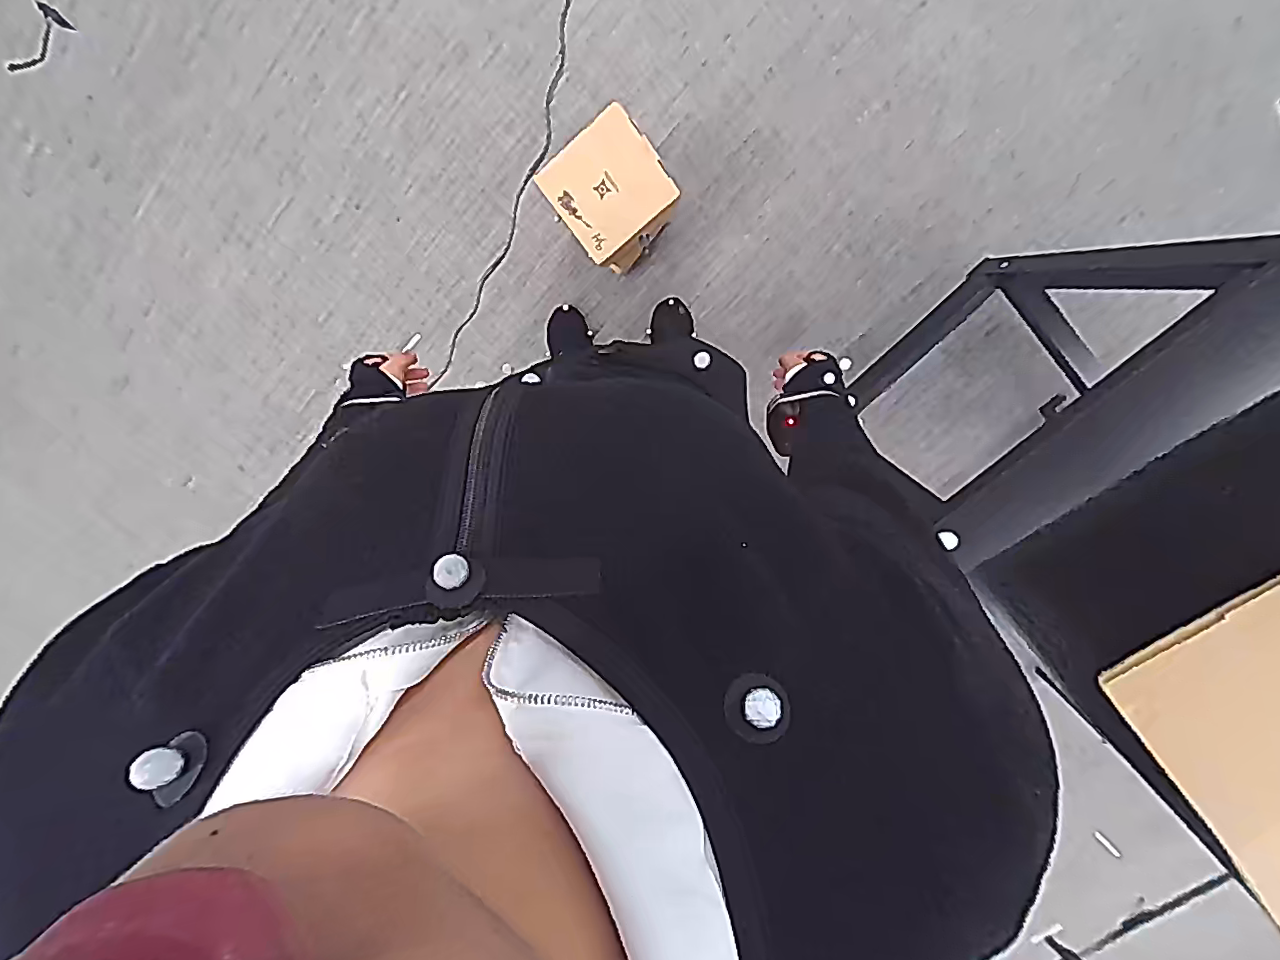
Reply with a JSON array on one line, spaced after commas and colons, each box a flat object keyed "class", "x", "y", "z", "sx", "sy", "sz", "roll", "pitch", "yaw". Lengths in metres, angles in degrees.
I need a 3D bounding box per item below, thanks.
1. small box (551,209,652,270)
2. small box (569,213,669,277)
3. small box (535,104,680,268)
[{"class": "small box", "x": -0.053, "y": -0.543, "z": 1.085, "sx": 0.168, "sy": 0.176, "sz": 0.179, "roll": 36, "pitch": 105, "yaw": -12}, {"class": "small box", "x": -0.053, "y": -0.591, "z": 1.240, "sx": 0.168, "sy": 0.176, "sz": 0.179, "roll": 40, "pitch": 106, "yaw": -12}, {"class": "small box", "x": -0.053, "y": -0.488, "z": 0.930, "sx": 0.179, "sy": 0.176, "sz": 0.168, "roll": -37, "pitch": 105, "yaw": 11}]
